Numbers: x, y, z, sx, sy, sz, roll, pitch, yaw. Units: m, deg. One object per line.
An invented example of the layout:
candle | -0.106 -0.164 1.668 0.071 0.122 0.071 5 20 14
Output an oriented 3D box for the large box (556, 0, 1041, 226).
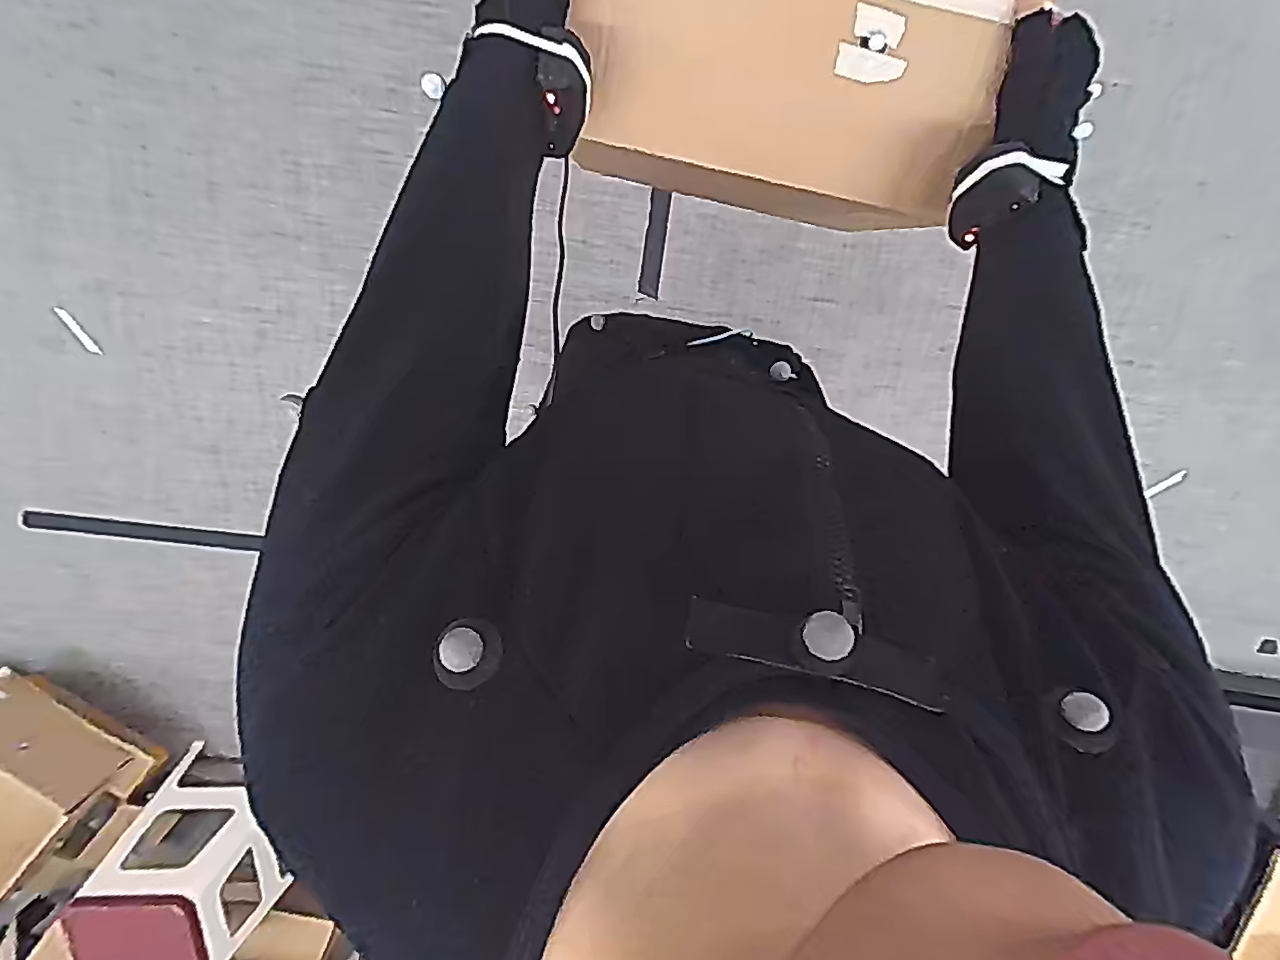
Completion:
large box | 0.140 -0.485 0.590 0.408 0.320 0.320 10 115 -5
